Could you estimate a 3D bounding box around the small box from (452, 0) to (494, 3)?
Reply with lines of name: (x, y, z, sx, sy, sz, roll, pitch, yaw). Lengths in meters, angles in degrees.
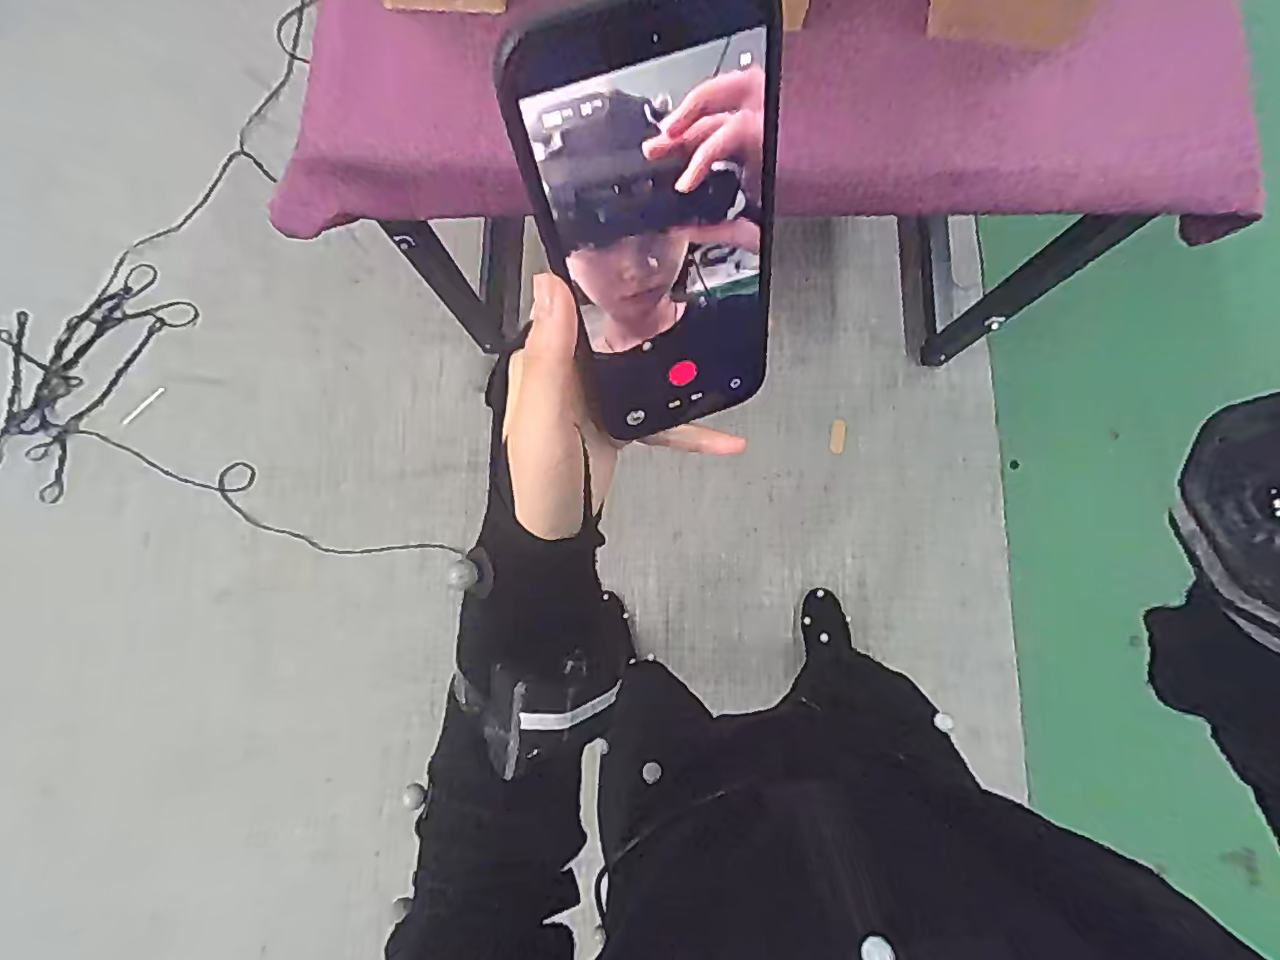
small box: (-0.263, -0.737, 0.662, 0.168, 0.176, 0.179, 4, 82, 3)

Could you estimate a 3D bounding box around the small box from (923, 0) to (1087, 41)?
small box: (0.463, -0.660, 0.627, 0.179, 0.176, 0.168, 9, 82, 4)

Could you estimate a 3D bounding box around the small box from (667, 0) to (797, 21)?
small box: (0.125, -0.694, 0.642, 0.179, 0.176, 0.168, 3, 82, 3)
